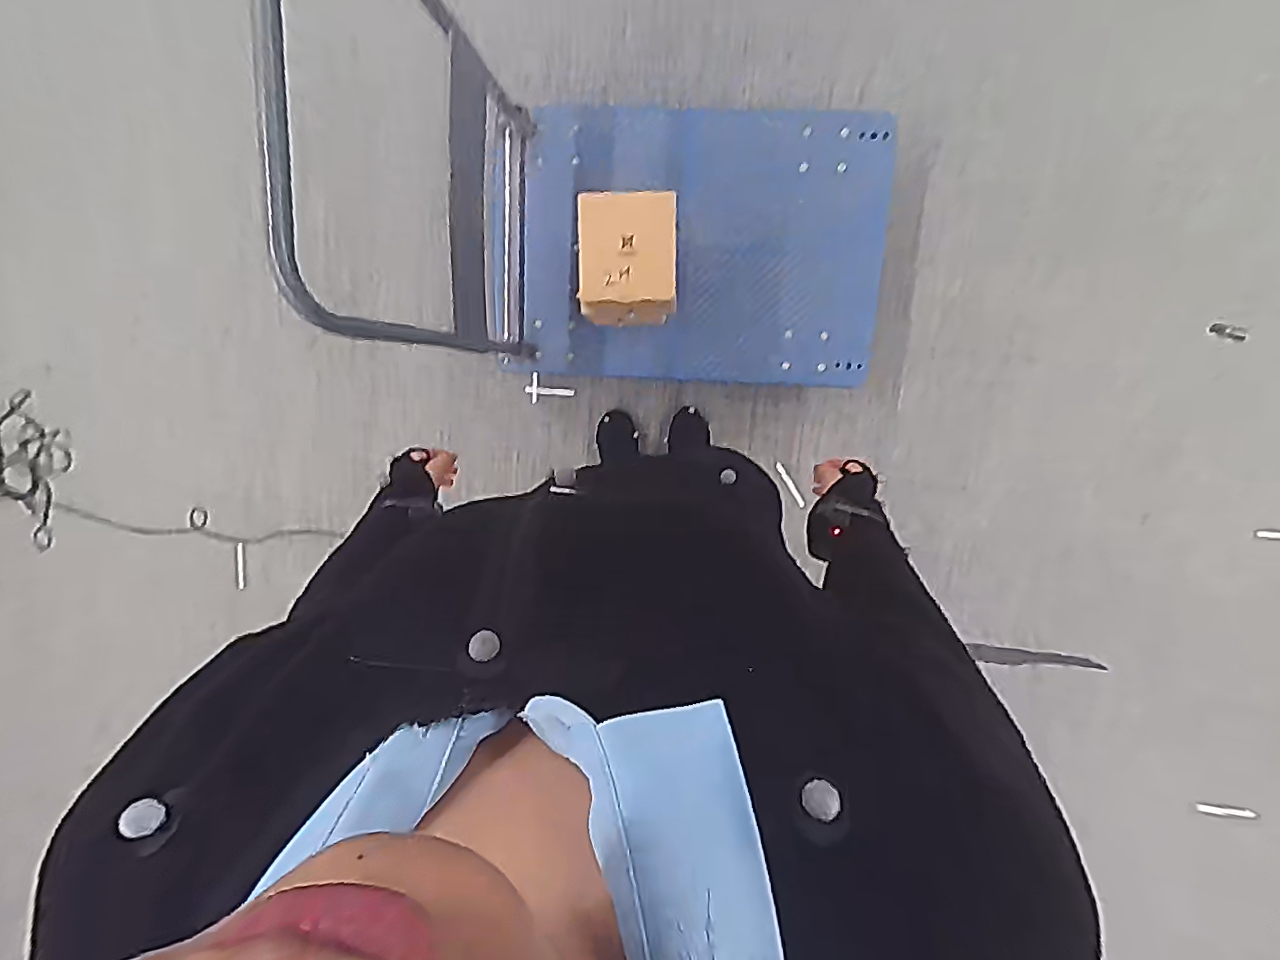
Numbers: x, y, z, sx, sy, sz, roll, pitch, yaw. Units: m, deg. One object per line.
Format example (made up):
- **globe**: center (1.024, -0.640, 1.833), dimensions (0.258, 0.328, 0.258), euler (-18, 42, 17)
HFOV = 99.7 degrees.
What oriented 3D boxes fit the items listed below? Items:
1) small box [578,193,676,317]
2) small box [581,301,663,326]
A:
- **small box**: center (-0.019, -0.401, 0.988), dimensions (0.168, 0.176, 0.179), euler (1, 100, 4)
- **small box**: center (-0.034, -0.429, 1.152), dimensions (0.168, 0.176, 0.179), euler (0, 100, 4)
